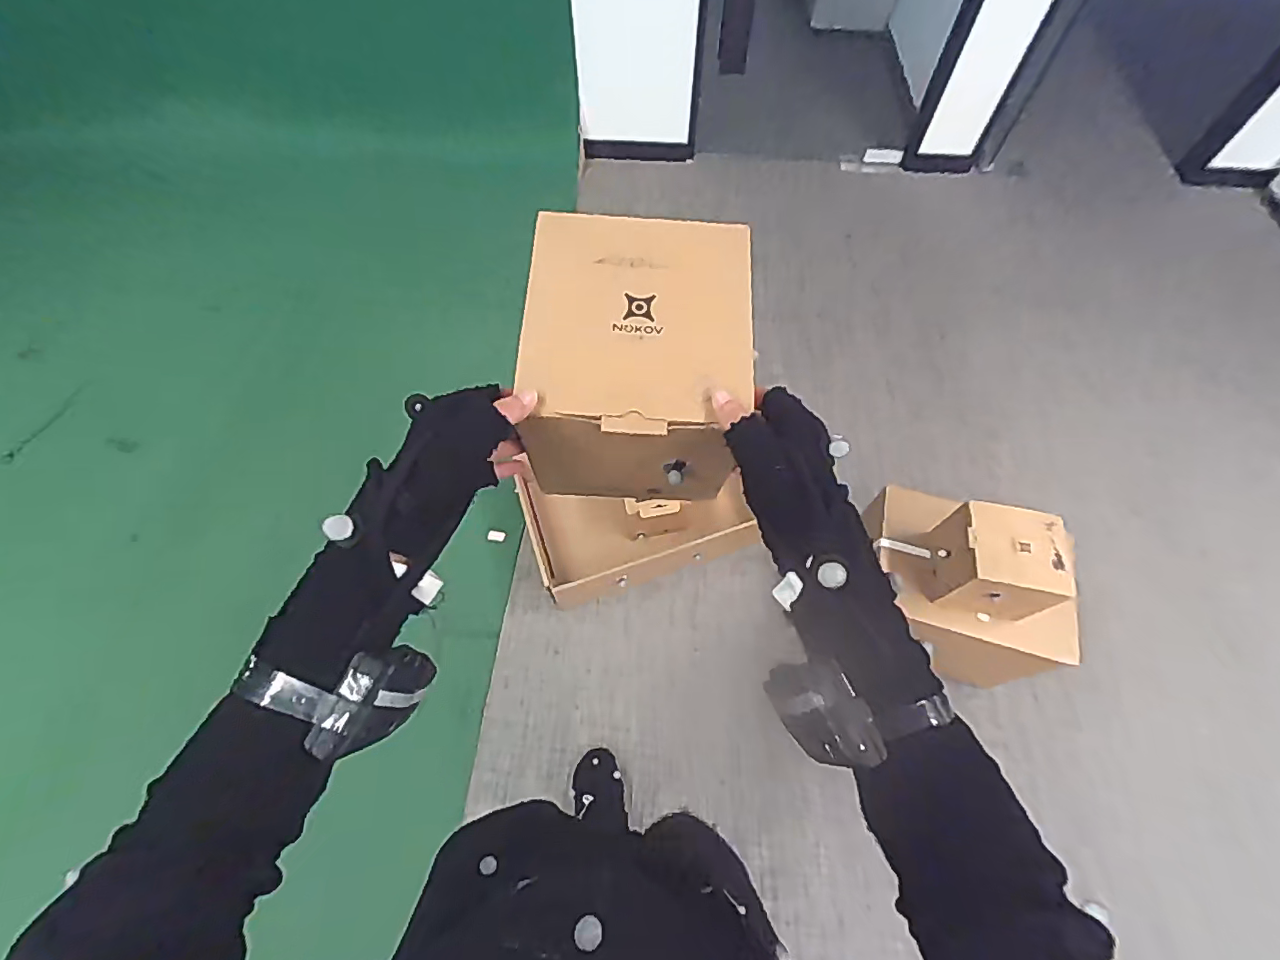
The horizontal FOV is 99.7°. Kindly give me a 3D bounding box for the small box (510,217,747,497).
[{"bbox_3d":[-0.007,-0.092,0.469,0.168,0.176,0.179,3,69,-2],"label":"small box"}]

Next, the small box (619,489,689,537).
[{"bbox_3d":[0.031,0.039,1.444,0.168,0.176,0.179,-11,60,-5],"label":"small box"}]

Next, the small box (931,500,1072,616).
[{"bbox_3d":[0.701,0.160,1.076,0.179,0.176,0.168,10,62,6],"label":"small box"}]
